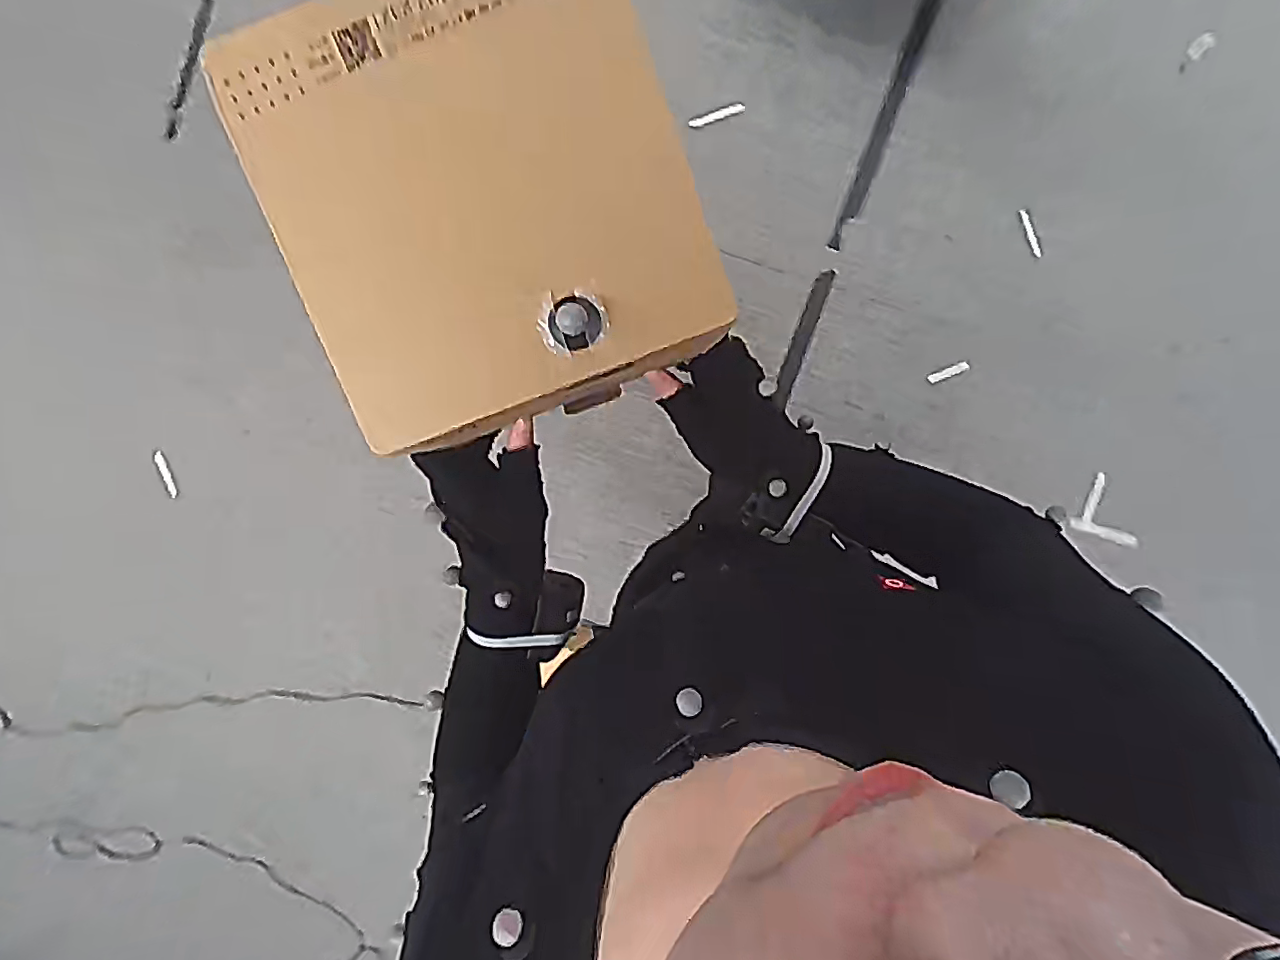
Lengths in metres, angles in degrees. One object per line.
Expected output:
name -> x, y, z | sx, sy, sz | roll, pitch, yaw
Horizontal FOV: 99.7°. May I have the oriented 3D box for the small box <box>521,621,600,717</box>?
small box -> -0.210, 0.506, 1.467 | 0.168, 0.176, 0.179 | 10, 94, 3
